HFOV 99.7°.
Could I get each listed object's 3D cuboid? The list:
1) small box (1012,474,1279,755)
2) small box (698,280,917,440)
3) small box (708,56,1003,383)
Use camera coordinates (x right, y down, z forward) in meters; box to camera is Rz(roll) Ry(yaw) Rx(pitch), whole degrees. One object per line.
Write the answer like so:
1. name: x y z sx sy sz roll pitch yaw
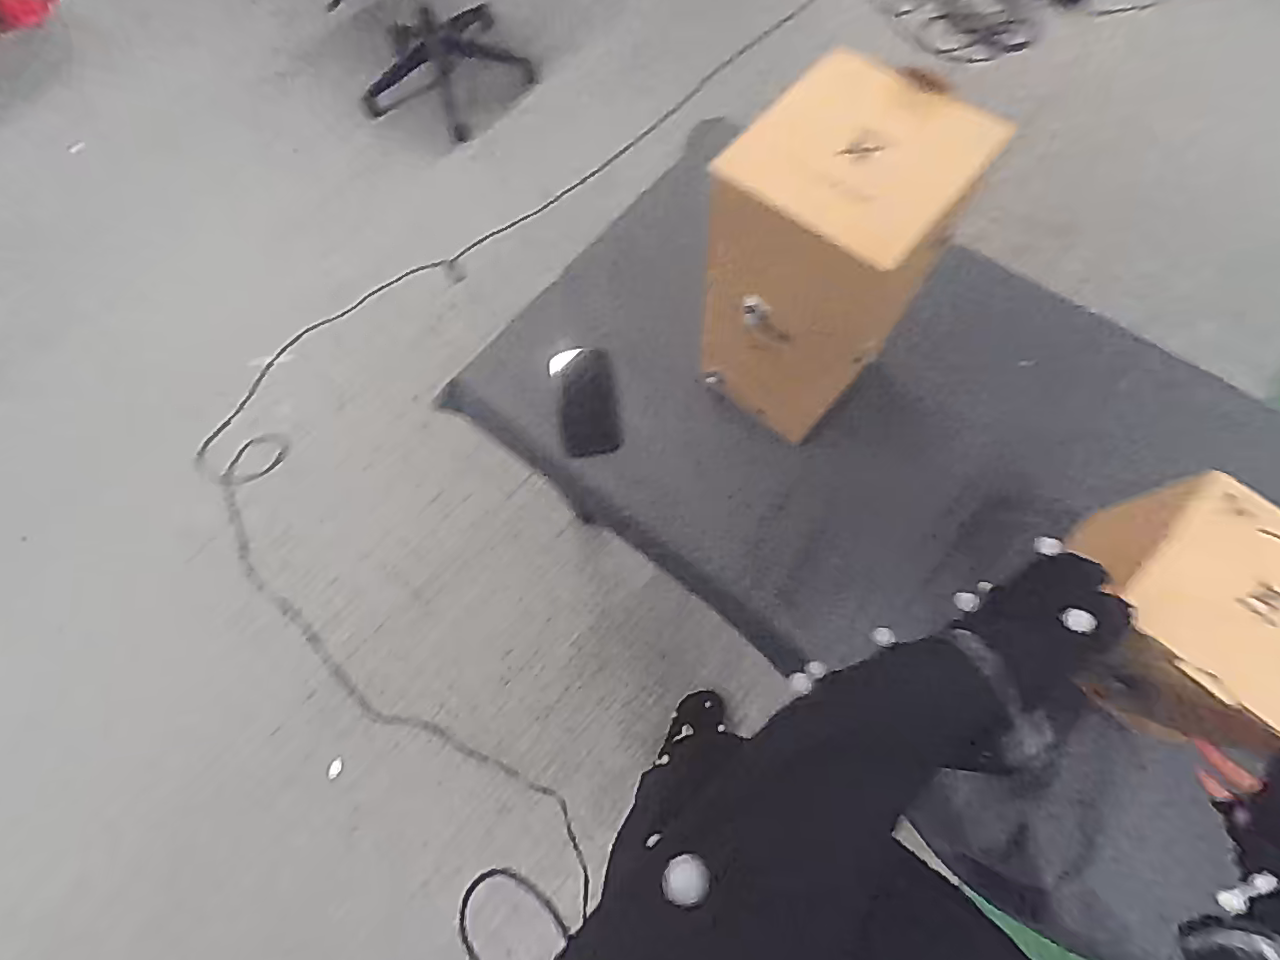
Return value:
1. small box: 0.511 0.131 0.524 0.179 0.176 0.168 -44 73 -11
2. small box: 0.186 -0.178 0.654 0.168 0.176 0.179 40 77 15
3. small box: 0.174 -0.228 0.501 0.168 0.176 0.179 39 78 16
